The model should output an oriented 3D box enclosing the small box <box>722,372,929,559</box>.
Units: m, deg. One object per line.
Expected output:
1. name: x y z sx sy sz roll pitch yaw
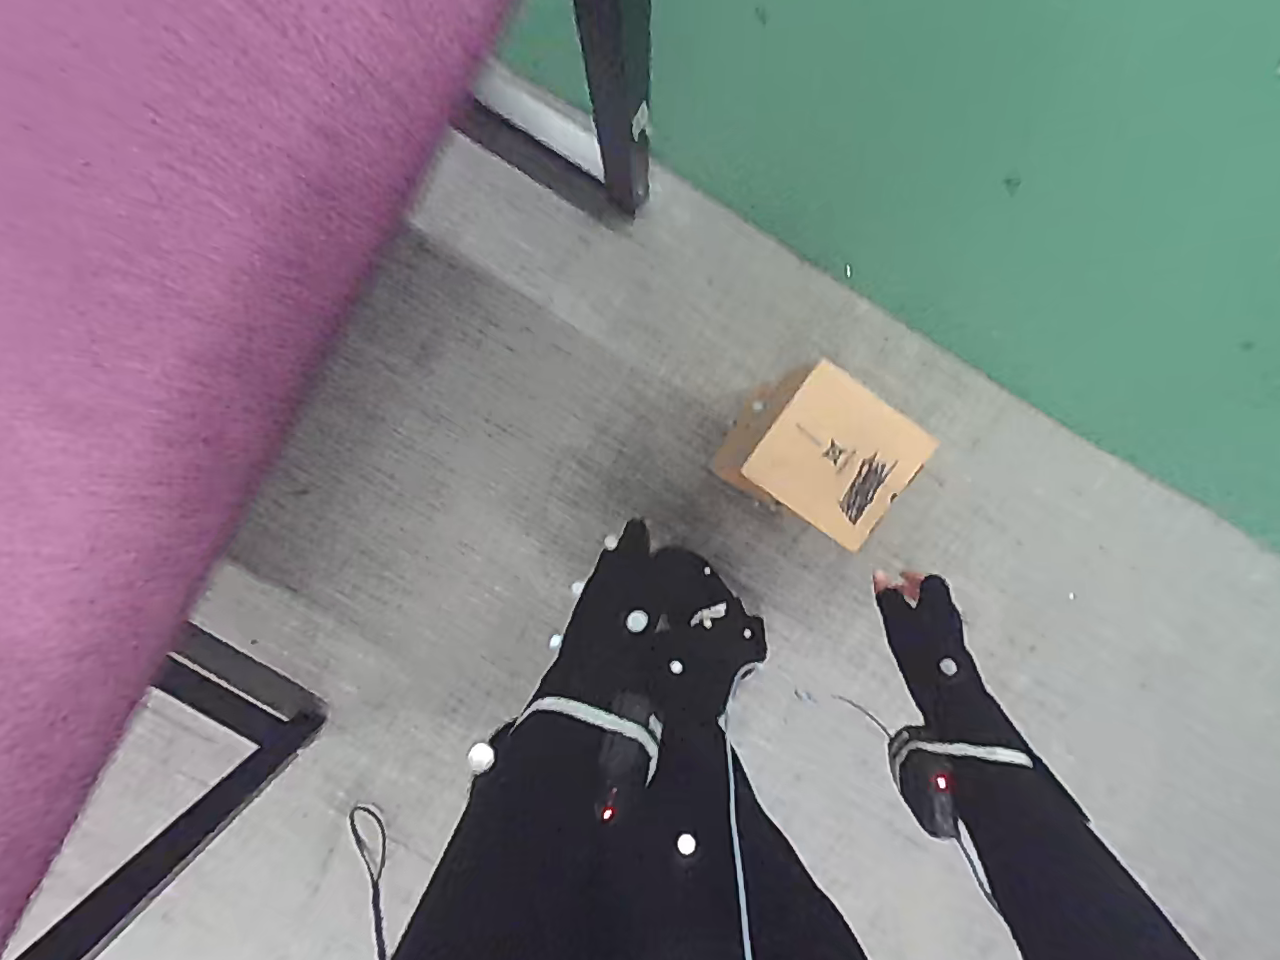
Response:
1. small box: 0.233 -0.026 0.728 0.179 0.176 0.168 37 96 -3
